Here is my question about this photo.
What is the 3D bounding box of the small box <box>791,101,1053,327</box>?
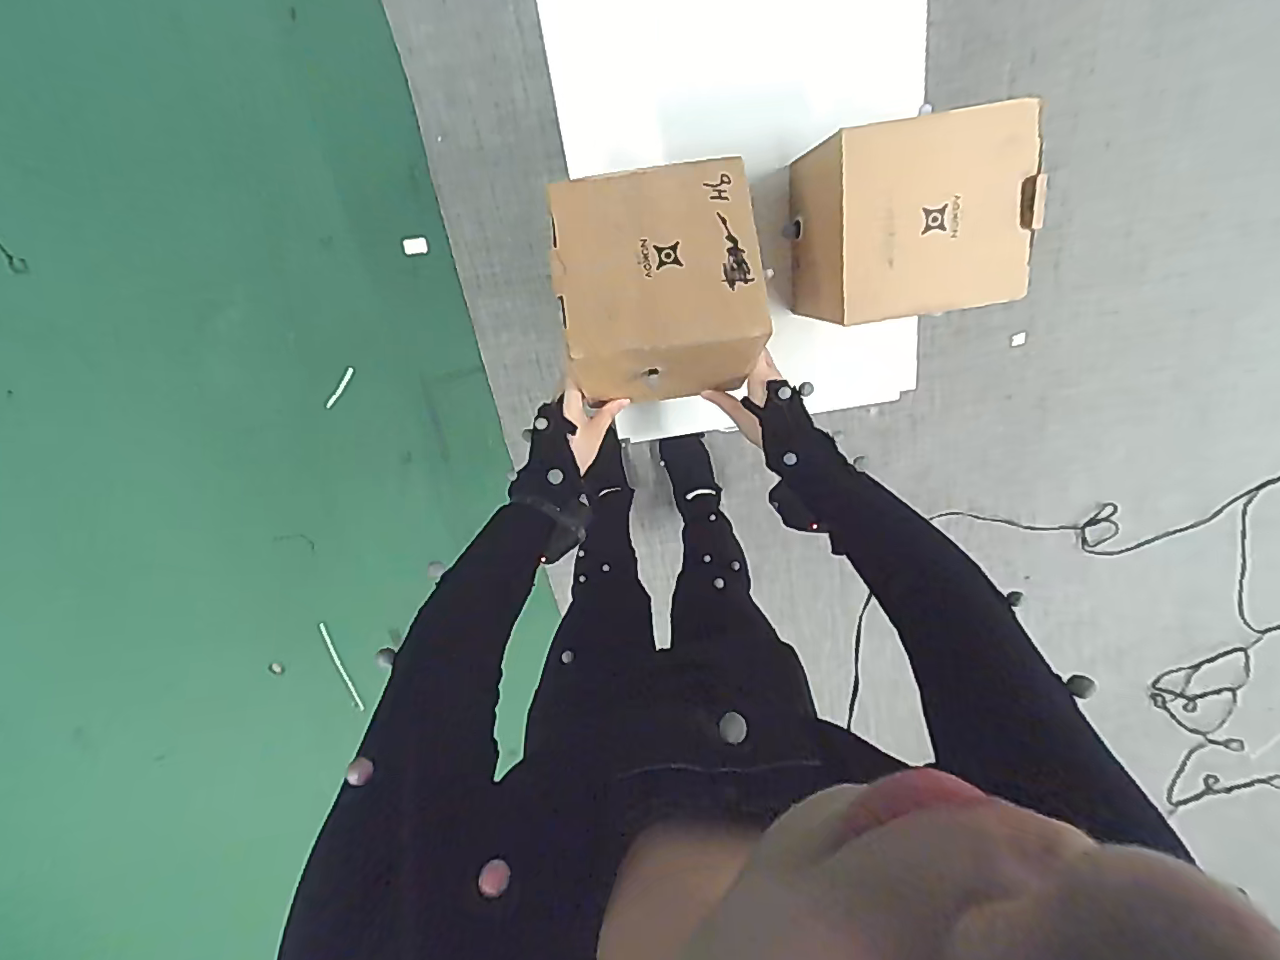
[{"bbox_3d":[0.267,-0.260,0.554,0.179,0.176,0.168,-8,111,2],"label":"small box"}]

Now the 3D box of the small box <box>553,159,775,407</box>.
[{"bbox_3d":[0.022,-0.178,0.541,0.179,0.176,0.168,-8,84,1],"label":"small box"}]
